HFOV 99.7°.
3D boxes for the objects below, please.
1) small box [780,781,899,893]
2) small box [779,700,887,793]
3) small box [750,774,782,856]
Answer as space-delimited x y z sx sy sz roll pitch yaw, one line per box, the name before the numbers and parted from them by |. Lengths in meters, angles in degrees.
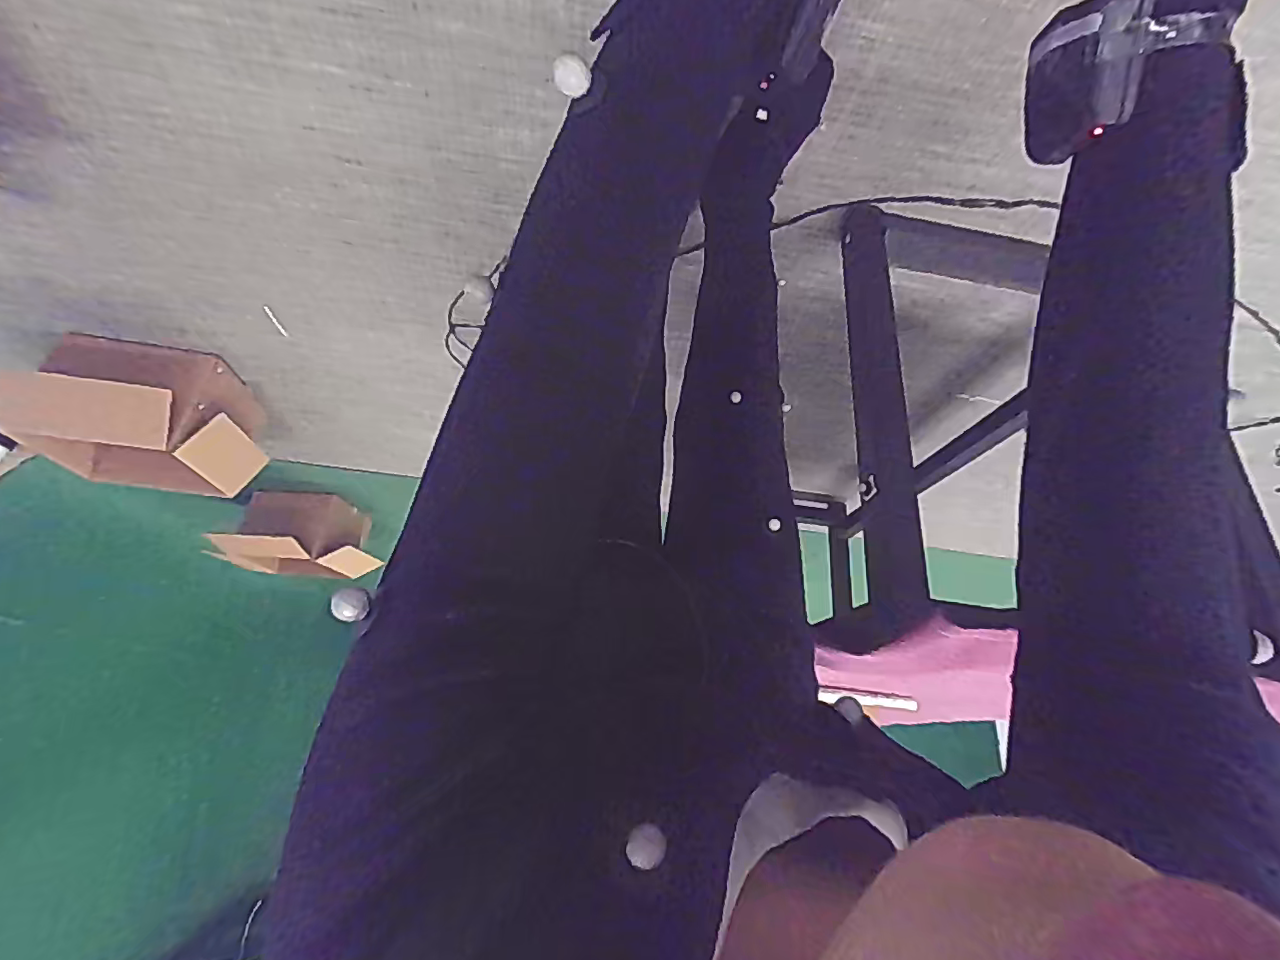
small box | 0.407 0.735 1.130 0.179 0.176 0.168 9 154 -5
small box | 0.417 0.585 1.199 0.179 0.176 0.168 7 154 -3
small box | 0.400 0.872 1.410 0.179 0.176 0.168 9 155 -4
